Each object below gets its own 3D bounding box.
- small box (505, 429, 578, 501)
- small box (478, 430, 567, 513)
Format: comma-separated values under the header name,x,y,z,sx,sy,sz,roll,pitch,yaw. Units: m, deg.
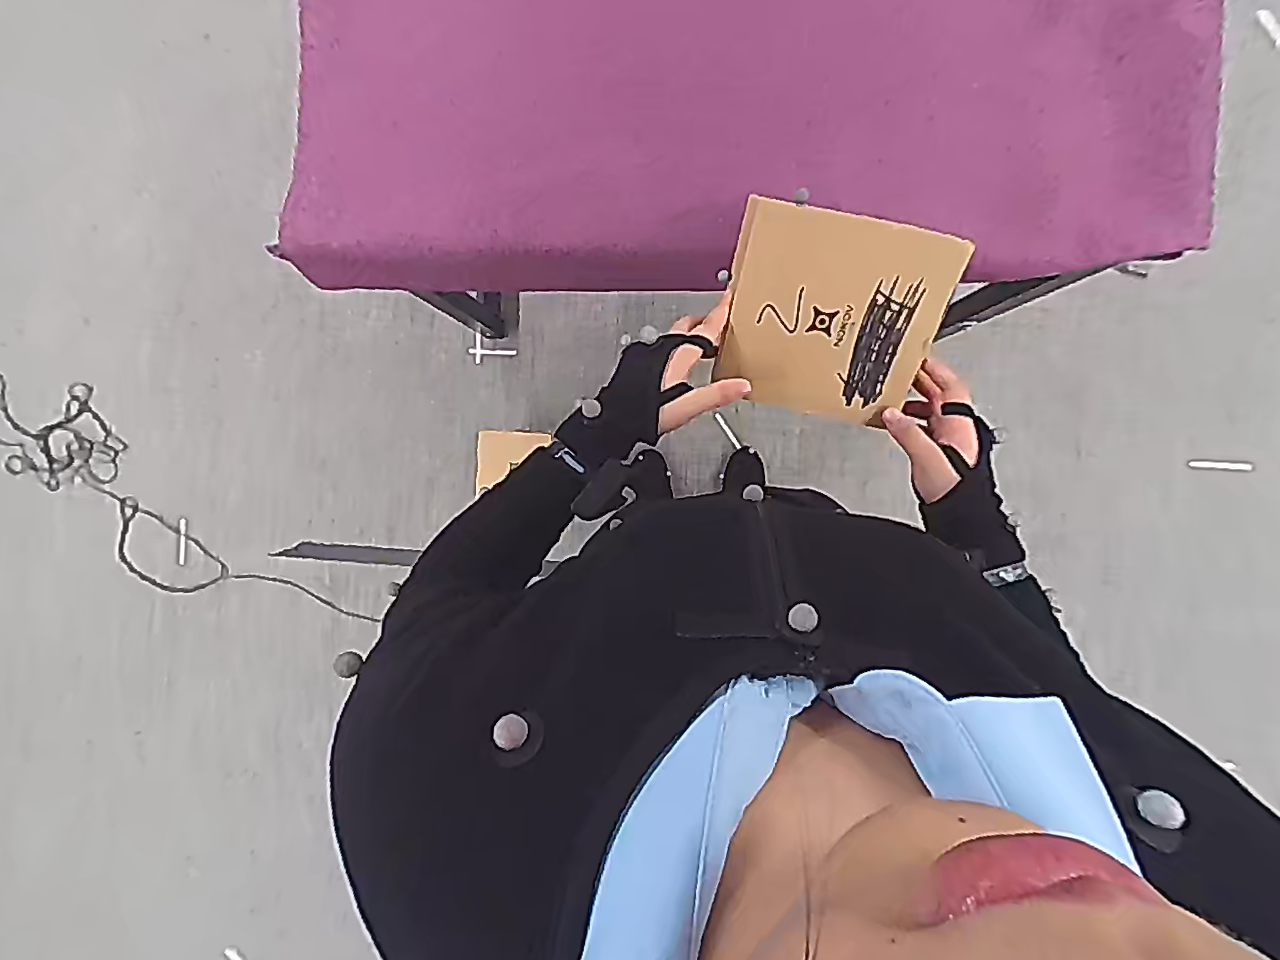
name,x,y,z,sx,sy,sz,roll,pitch,yaw
small box,-0.267,-0.034,1.441,0.168,0.176,0.179,9,93,3
small box,-0.270,-0.022,1.276,0.168,0.176,0.179,4,93,3
